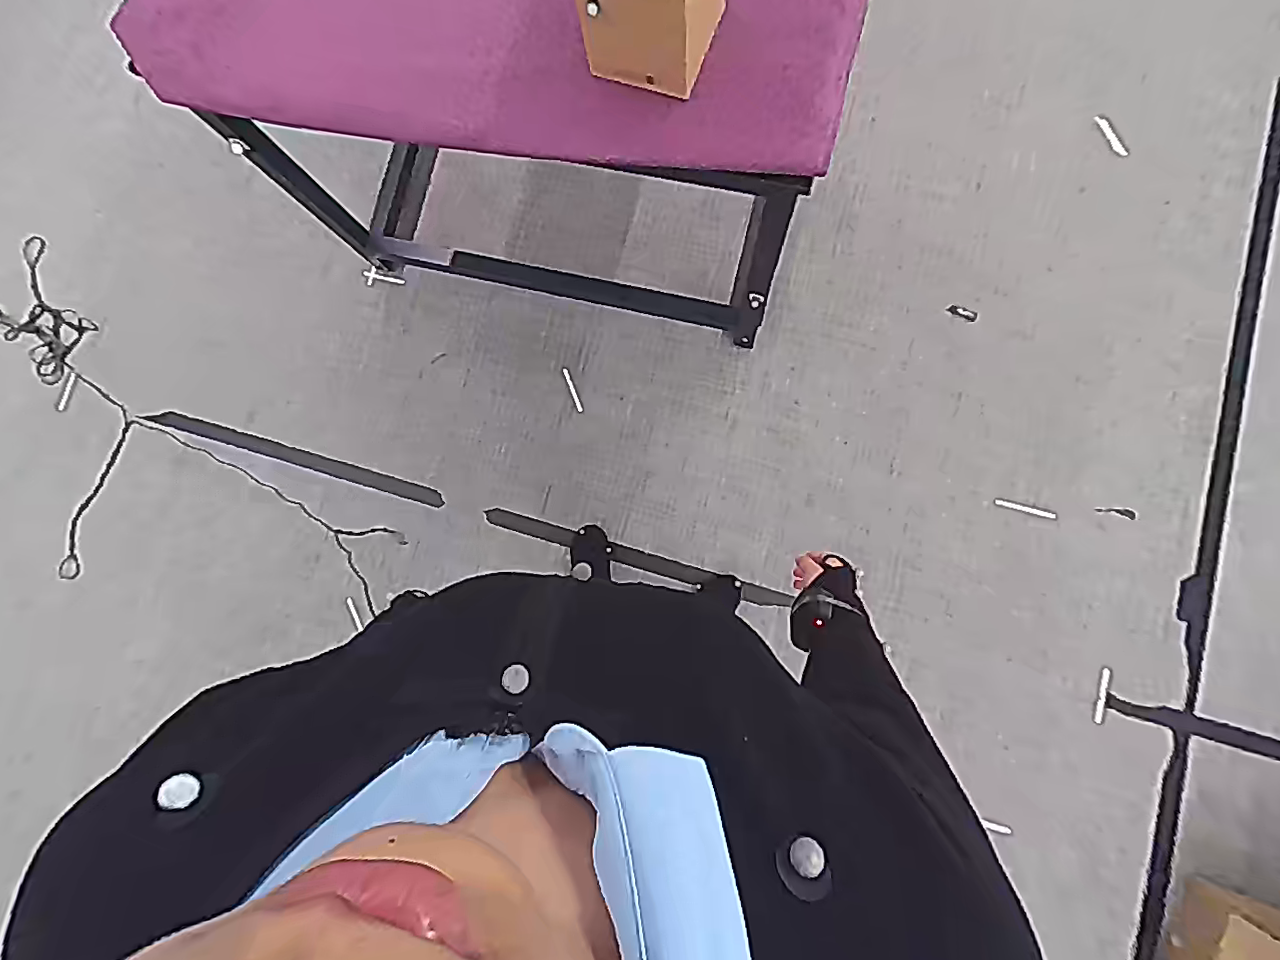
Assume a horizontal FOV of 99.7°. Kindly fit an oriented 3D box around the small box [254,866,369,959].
[{"bbox_3d":[-0.808,1.108,1.341,0.168,0.176,0.179,12,85,8],"label":"small box"}]

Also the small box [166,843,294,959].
[{"bbox_3d":[-1.022,1.076,1.366,0.168,0.176,0.179,19,85,6],"label":"small box"}]
